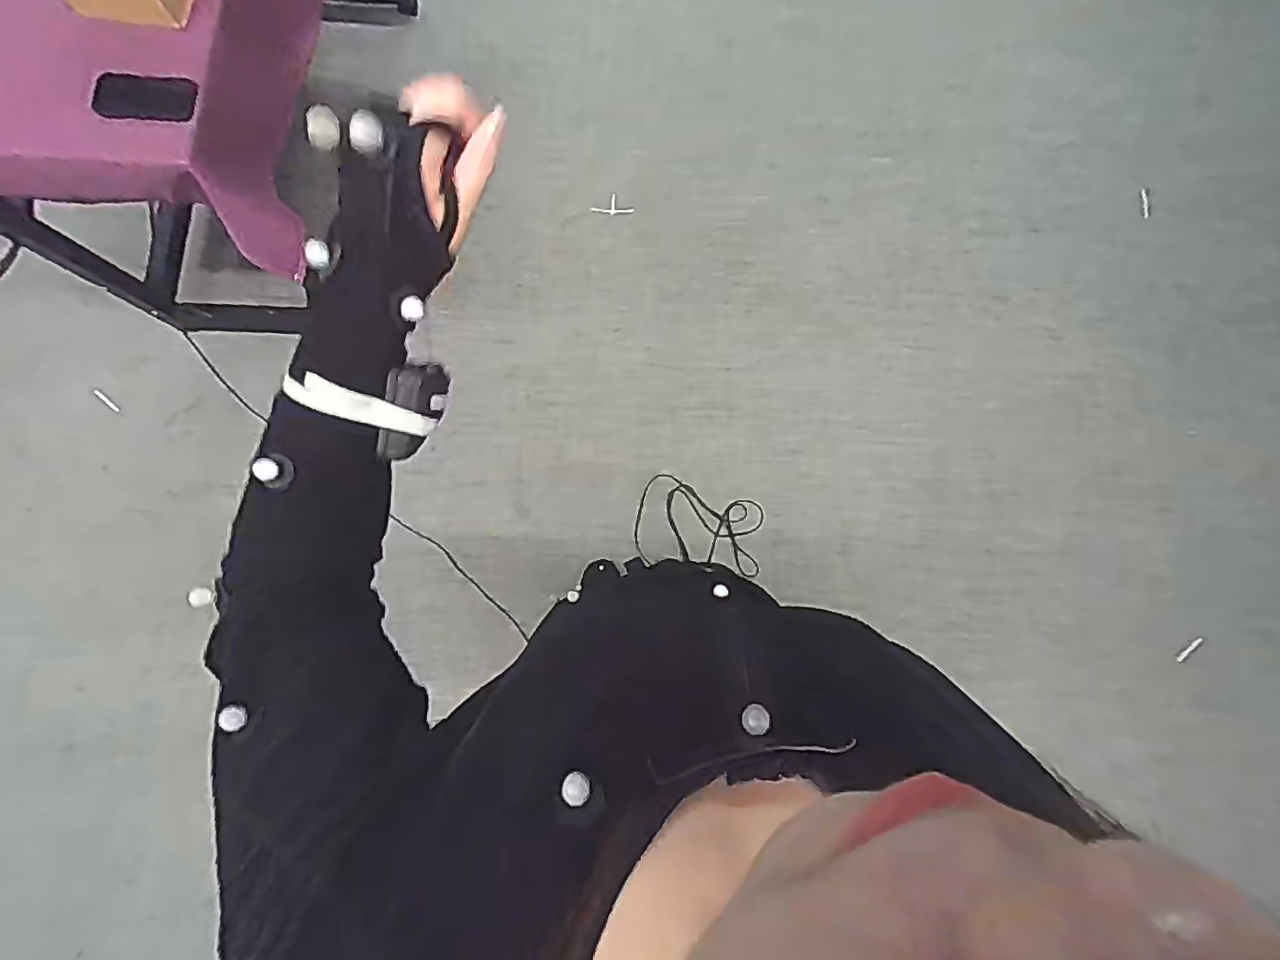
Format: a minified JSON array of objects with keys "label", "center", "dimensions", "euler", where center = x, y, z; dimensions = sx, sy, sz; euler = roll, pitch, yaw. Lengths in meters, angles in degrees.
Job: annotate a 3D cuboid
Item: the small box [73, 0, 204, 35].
[{"label":"small box","center":[-0.837,-0.857,0.856],"dimensions":[0.179,0.176,0.168],"euler":[6,80,-1]}]
